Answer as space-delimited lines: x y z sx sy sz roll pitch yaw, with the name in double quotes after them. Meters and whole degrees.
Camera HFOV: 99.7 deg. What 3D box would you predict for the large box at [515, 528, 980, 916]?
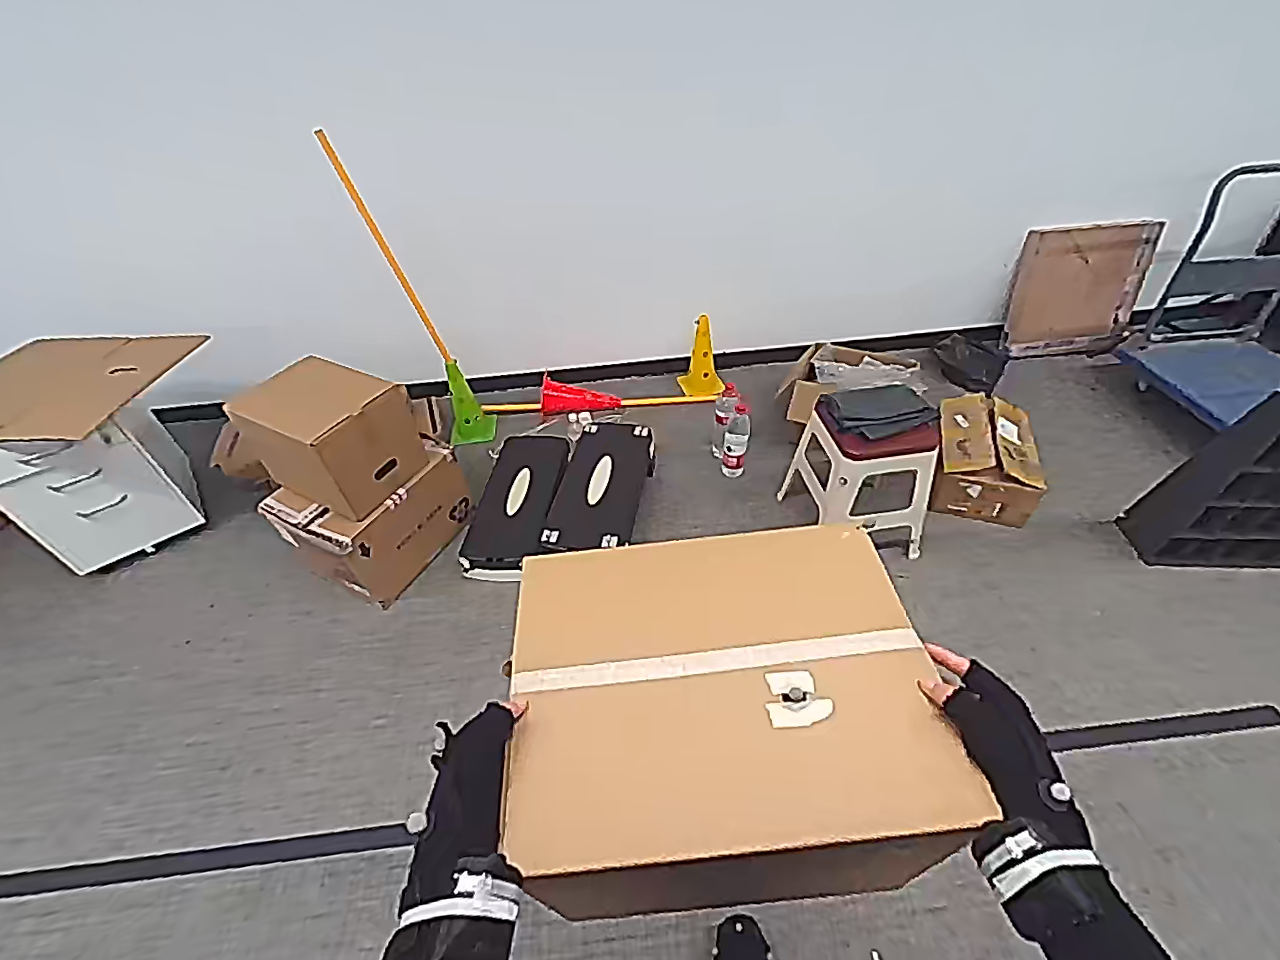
0.087 0.293 0.657 0.408 0.320 0.320 -6 46 0 "large box"
